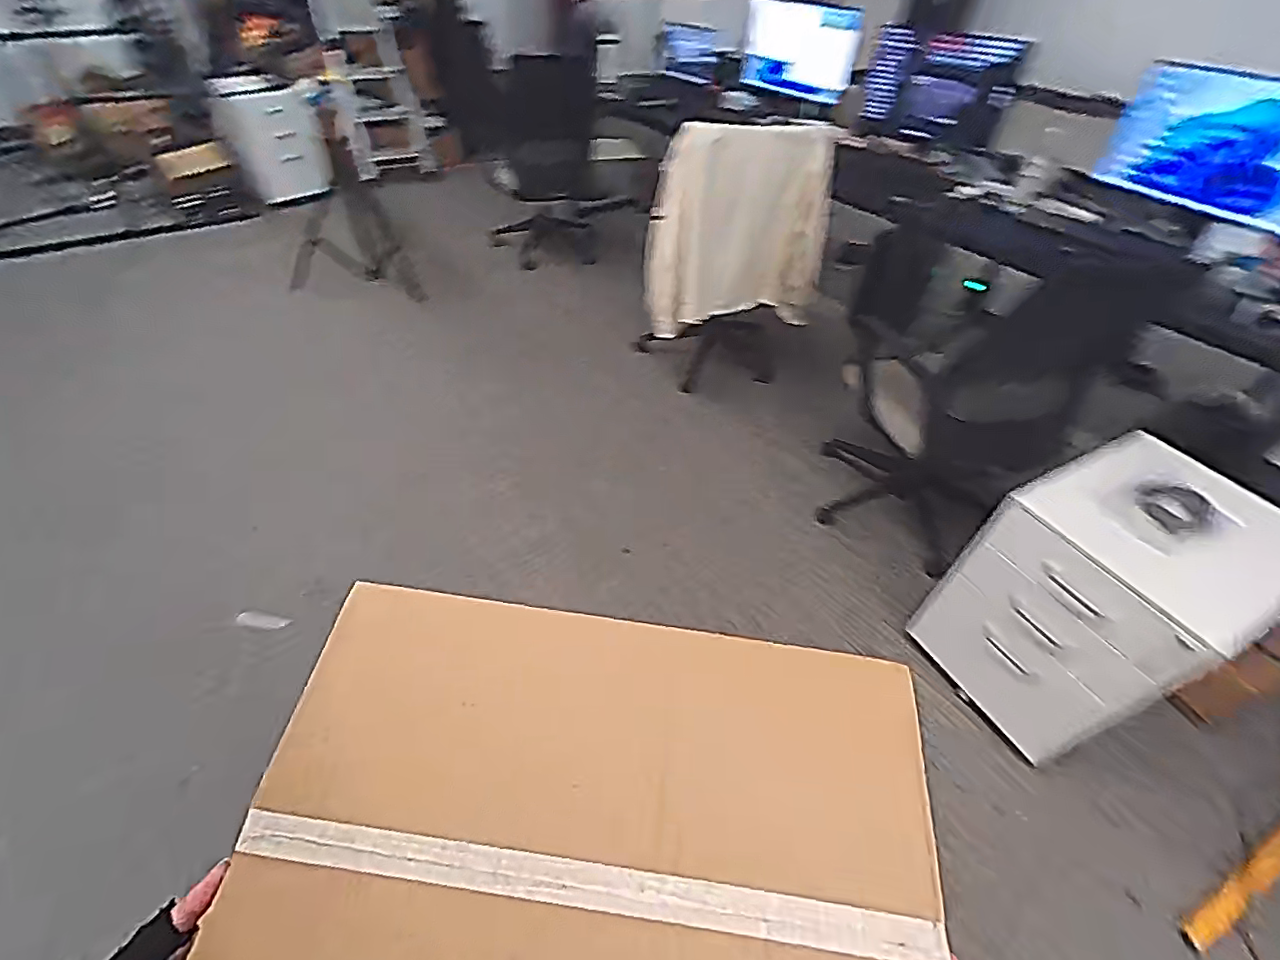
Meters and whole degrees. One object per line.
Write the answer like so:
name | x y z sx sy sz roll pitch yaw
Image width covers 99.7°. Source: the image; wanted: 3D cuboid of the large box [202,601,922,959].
large box | -0.042 0.319 0.443 0.408 0.320 0.320 7 58 2
